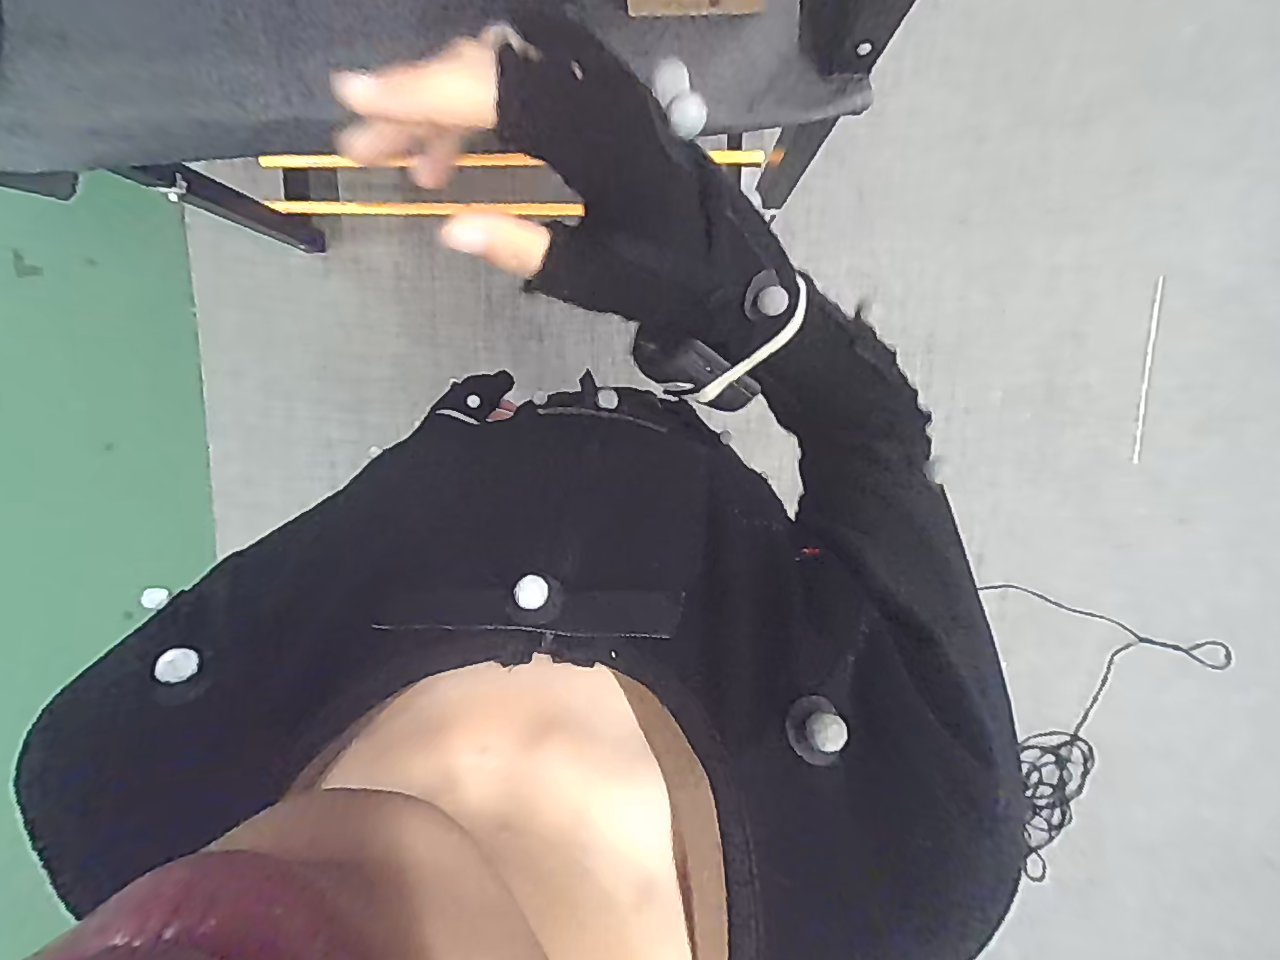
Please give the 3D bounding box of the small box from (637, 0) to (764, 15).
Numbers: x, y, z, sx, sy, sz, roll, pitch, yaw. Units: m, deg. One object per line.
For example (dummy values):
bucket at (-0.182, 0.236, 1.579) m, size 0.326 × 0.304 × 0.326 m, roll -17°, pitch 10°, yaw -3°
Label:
small box at (0.067, -0.639, 0.571) m, size 0.168 × 0.176 × 0.179 m, roll 1°, pitch 97°, yaw 1°
